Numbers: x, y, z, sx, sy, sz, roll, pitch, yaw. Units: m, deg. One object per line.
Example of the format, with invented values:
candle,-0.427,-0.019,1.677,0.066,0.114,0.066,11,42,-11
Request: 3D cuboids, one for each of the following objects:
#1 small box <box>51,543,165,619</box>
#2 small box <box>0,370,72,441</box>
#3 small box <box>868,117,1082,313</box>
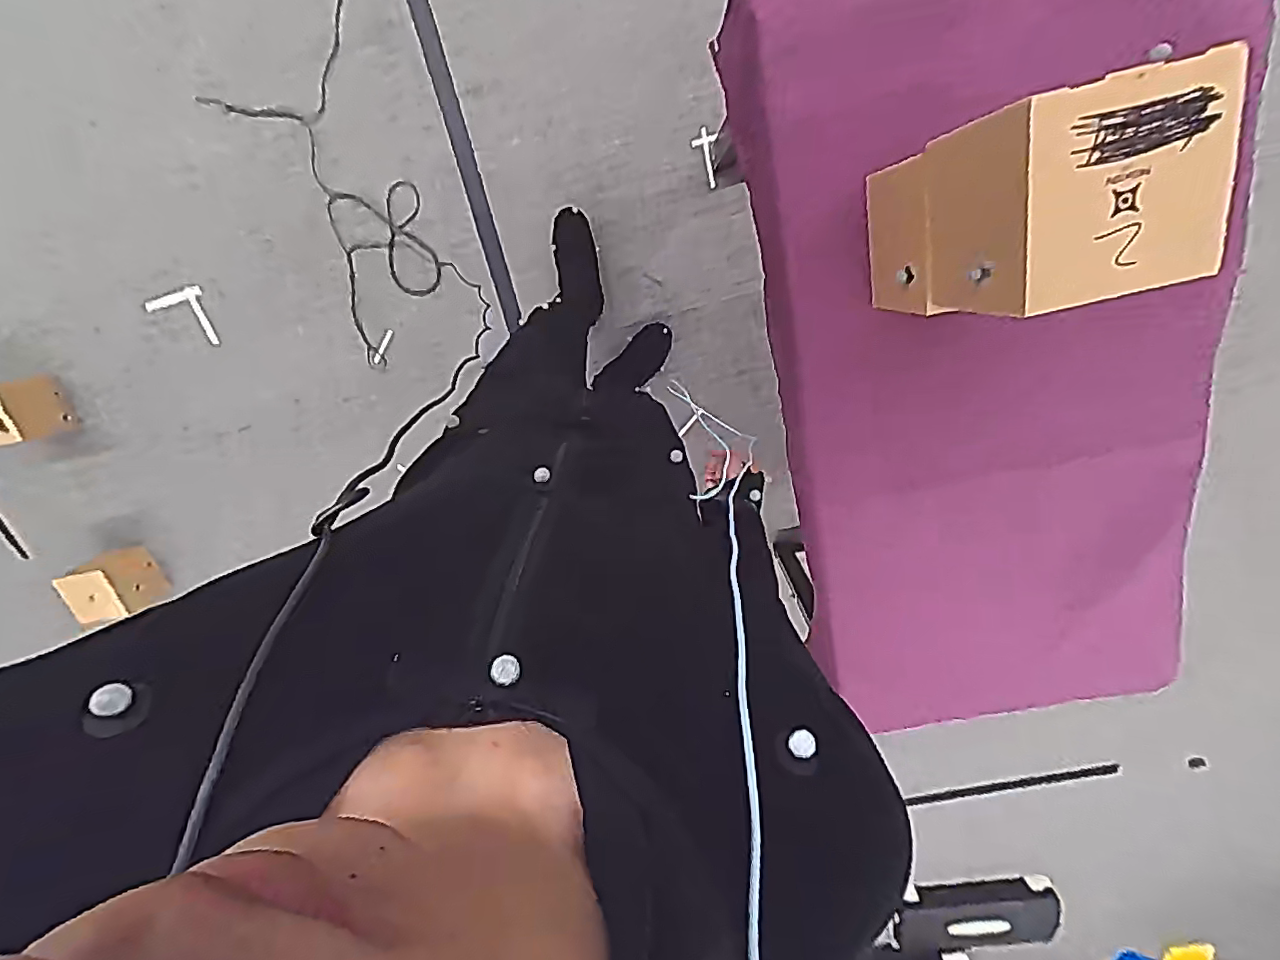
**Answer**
small box,-1.693,0.319,1.740,0.179,0.176,0.168,-11,111,6
small box,-1.792,-0.208,1.536,0.179,0.176,0.168,-9,110,5
small box,0.401,-0.320,0.679,0.168,0.176,0.179,-11,111,4
